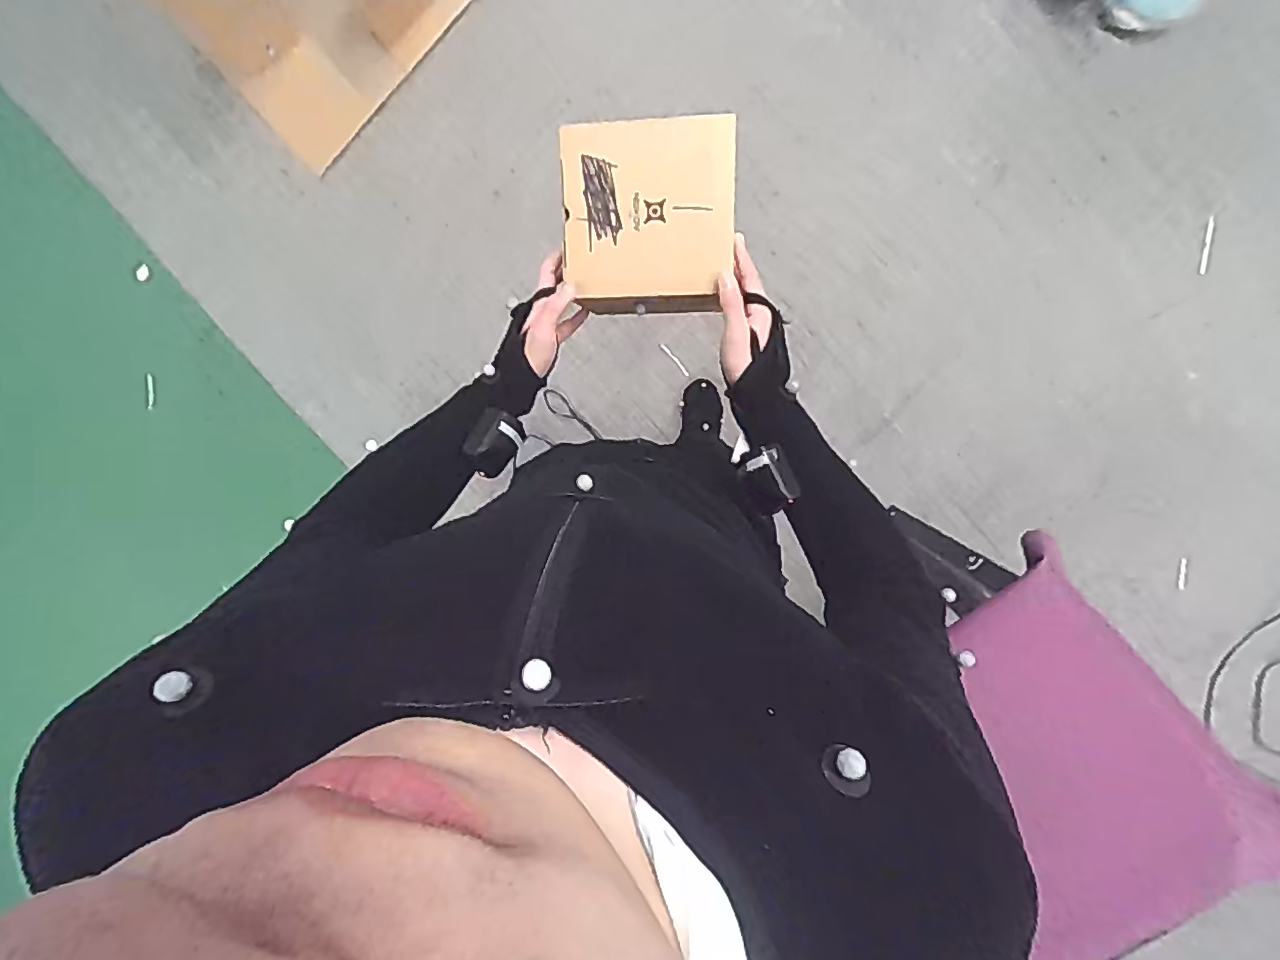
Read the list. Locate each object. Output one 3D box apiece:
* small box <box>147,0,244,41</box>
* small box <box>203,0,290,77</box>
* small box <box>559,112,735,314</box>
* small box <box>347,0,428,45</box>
[{"bbox_3d":[-1.101,-1.226,1.295,0.179,0.176,0.168,-33,94,9],"label":"small box"},{"bbox_3d":[-1.092,-1.254,1.458,0.179,0.176,0.168,-32,94,9],"label":"small box"},{"bbox_3d":[0.015,-0.285,0.617,0.179,0.176,0.168,-1,101,6],"label":"small box"},{"bbox_3d":[-0.693,-1.308,1.414,0.179,0.176,0.168,-40,93,10],"label":"small box"}]
